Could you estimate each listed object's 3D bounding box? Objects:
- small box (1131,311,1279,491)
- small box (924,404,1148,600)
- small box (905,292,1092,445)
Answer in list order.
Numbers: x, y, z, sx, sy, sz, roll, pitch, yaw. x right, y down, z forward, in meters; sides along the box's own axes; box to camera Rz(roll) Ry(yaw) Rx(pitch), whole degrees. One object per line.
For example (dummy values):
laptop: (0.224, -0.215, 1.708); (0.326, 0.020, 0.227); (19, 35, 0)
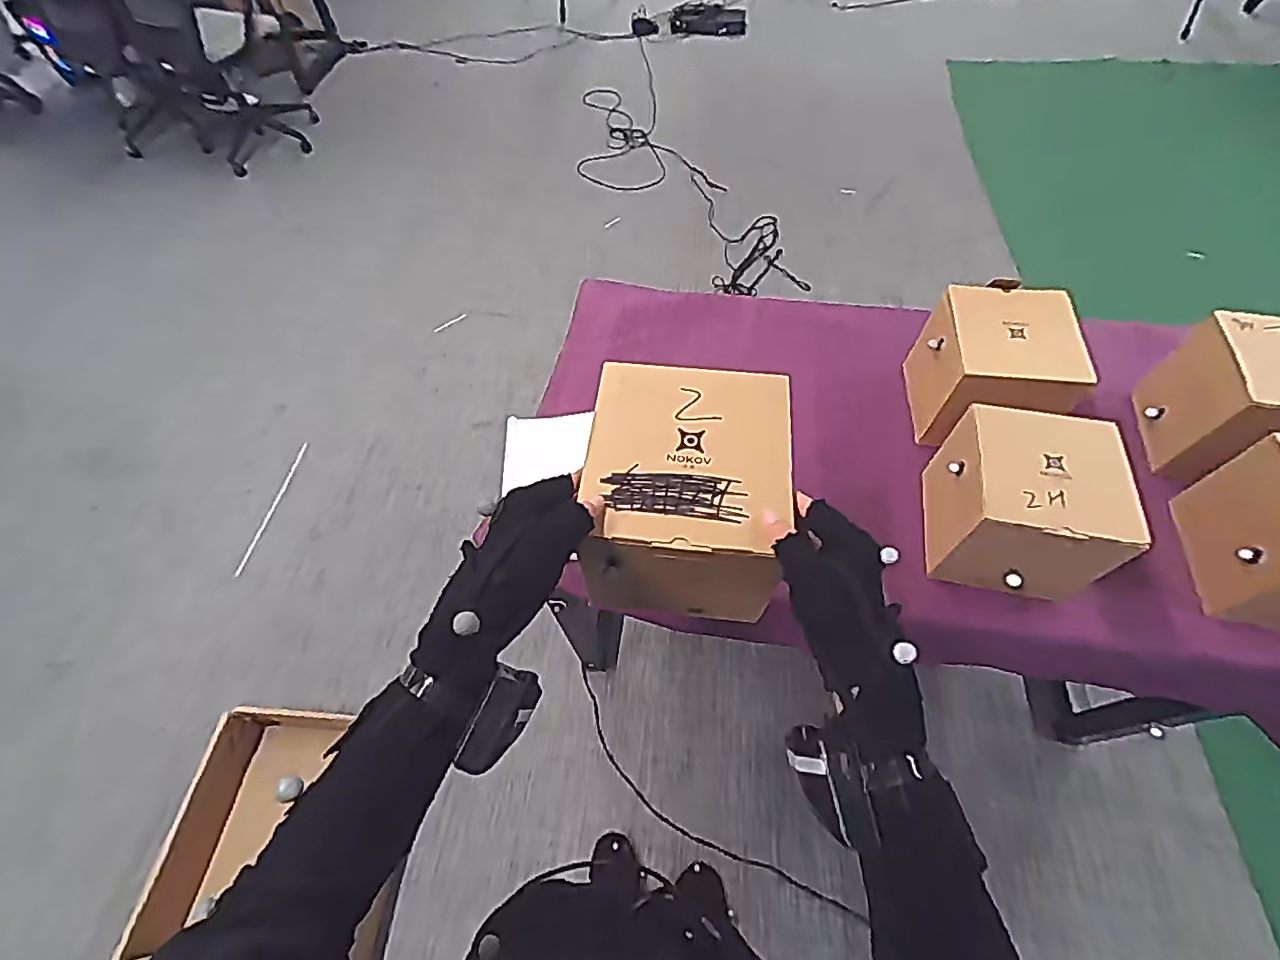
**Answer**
small box: (0.854, -0.106, 0.764); (0.168, 0.176, 0.179); (12, 60, 10)
small box: (0.484, 0.031, 0.697); (0.168, 0.176, 0.179); (10, 58, 10)
small box: (0.522, -0.158, 0.819); (0.168, 0.176, 0.179); (5, 58, 7)
